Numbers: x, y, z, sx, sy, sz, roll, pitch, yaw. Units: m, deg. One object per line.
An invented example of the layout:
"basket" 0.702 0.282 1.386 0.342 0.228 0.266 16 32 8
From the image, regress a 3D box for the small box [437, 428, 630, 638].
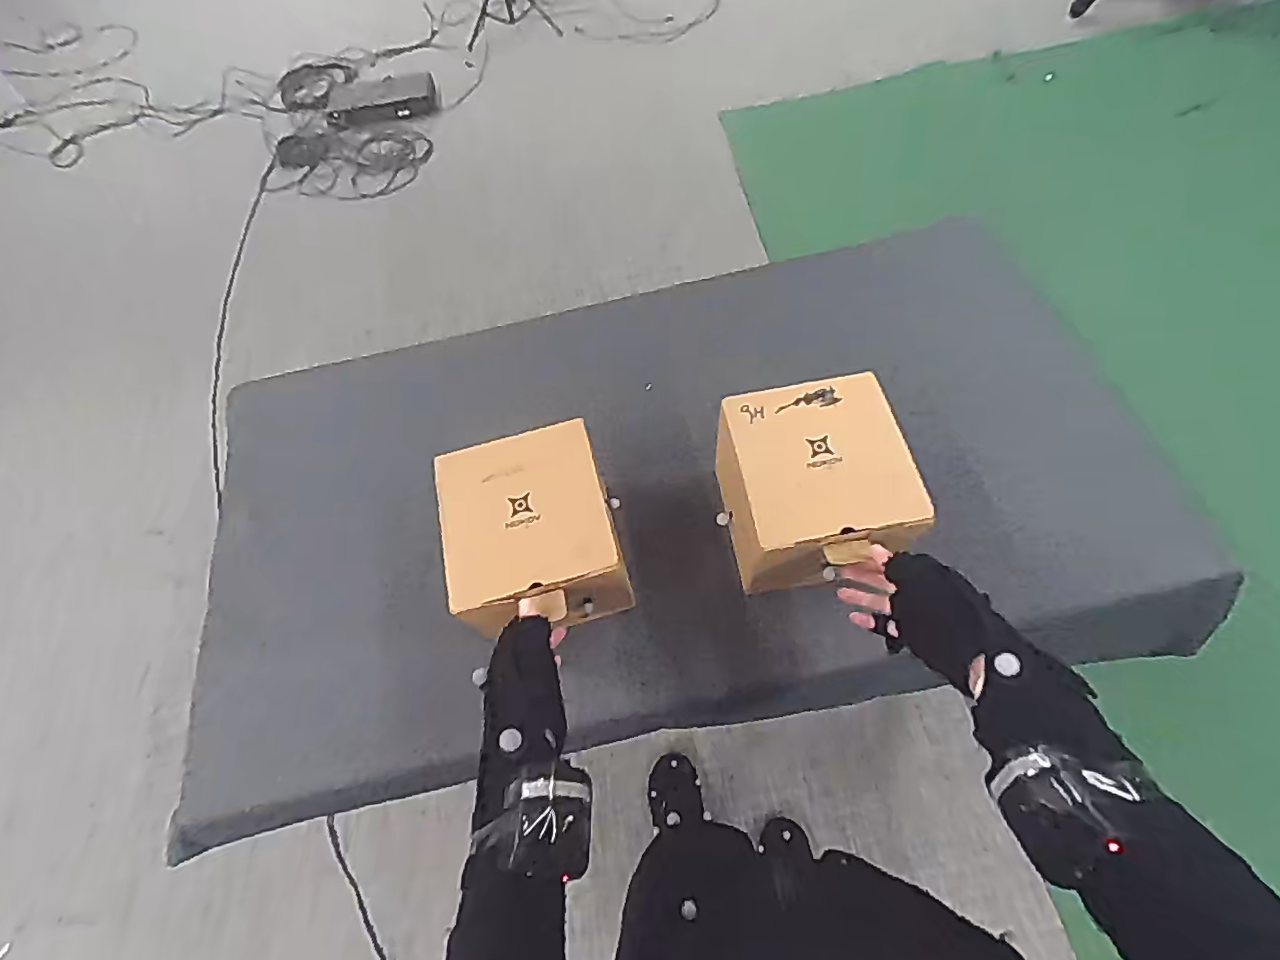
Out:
"small box" -0.114 0.072 0.624 0.168 0.176 0.179 -16 63 -3

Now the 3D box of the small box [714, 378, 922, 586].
"small box" 0.182 0.014 0.617 0.168 0.176 0.179 -10 65 0
